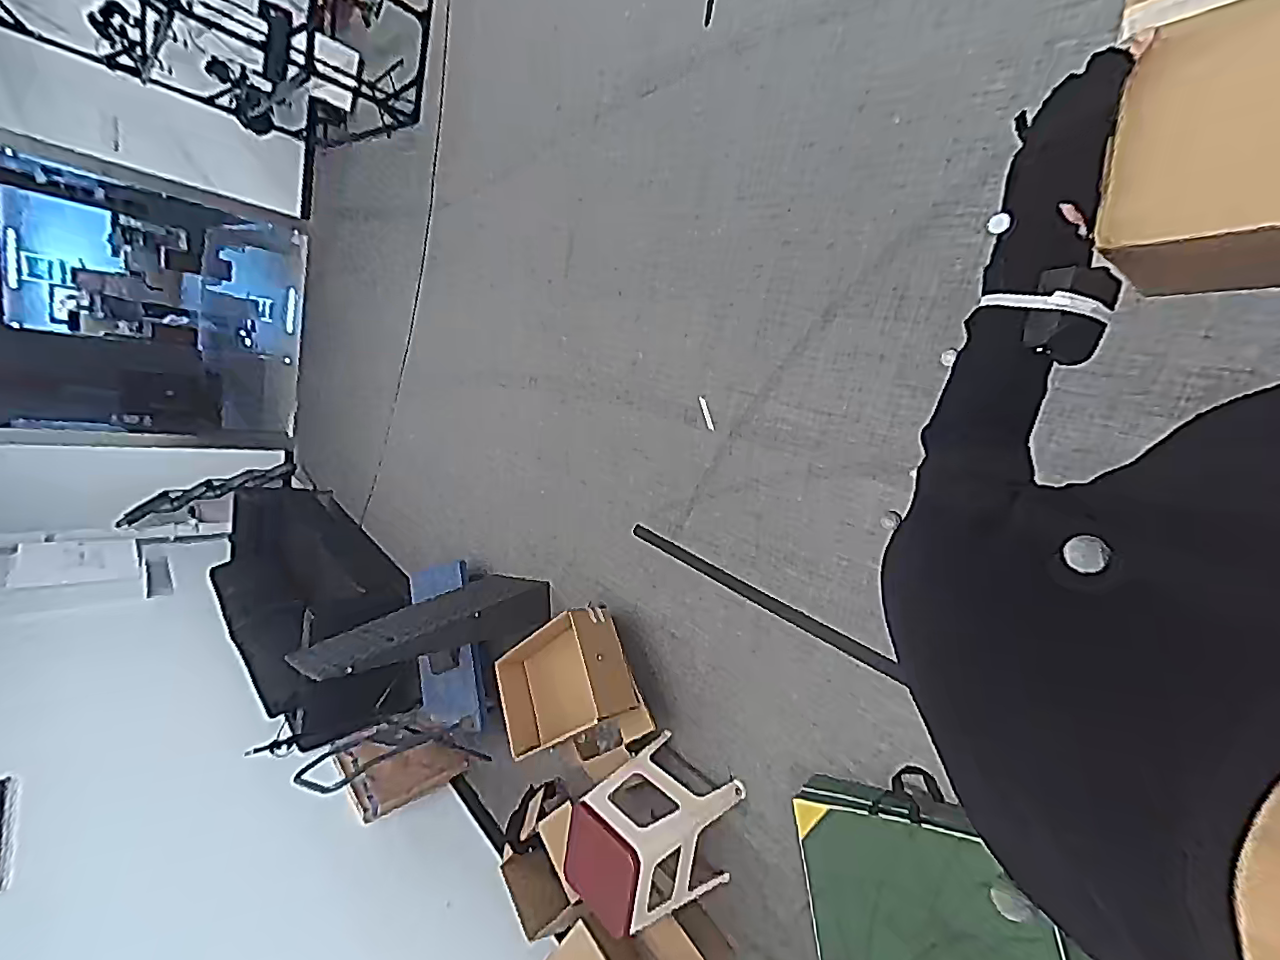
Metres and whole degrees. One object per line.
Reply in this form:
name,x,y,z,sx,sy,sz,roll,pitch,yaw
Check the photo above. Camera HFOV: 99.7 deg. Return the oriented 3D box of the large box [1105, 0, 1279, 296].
large box,0.611,-0.323,0.362,0.408,0.320,0.320,12,105,46
